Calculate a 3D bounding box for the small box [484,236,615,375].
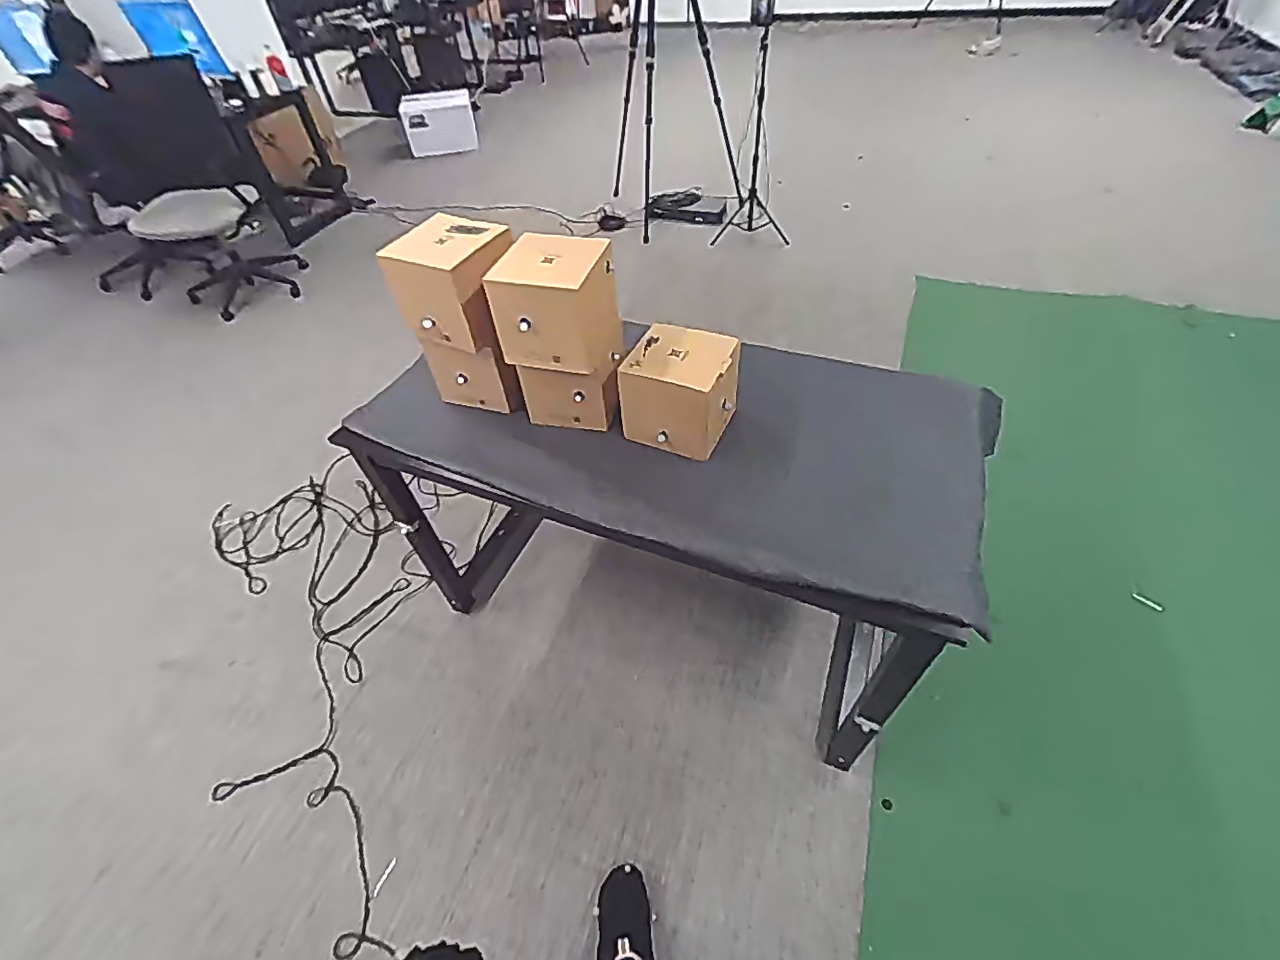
[{"bbox_3d":[-0.146,-0.307,0.955,0.168,0.176,0.179,10,49,11],"label":"small box"}]
